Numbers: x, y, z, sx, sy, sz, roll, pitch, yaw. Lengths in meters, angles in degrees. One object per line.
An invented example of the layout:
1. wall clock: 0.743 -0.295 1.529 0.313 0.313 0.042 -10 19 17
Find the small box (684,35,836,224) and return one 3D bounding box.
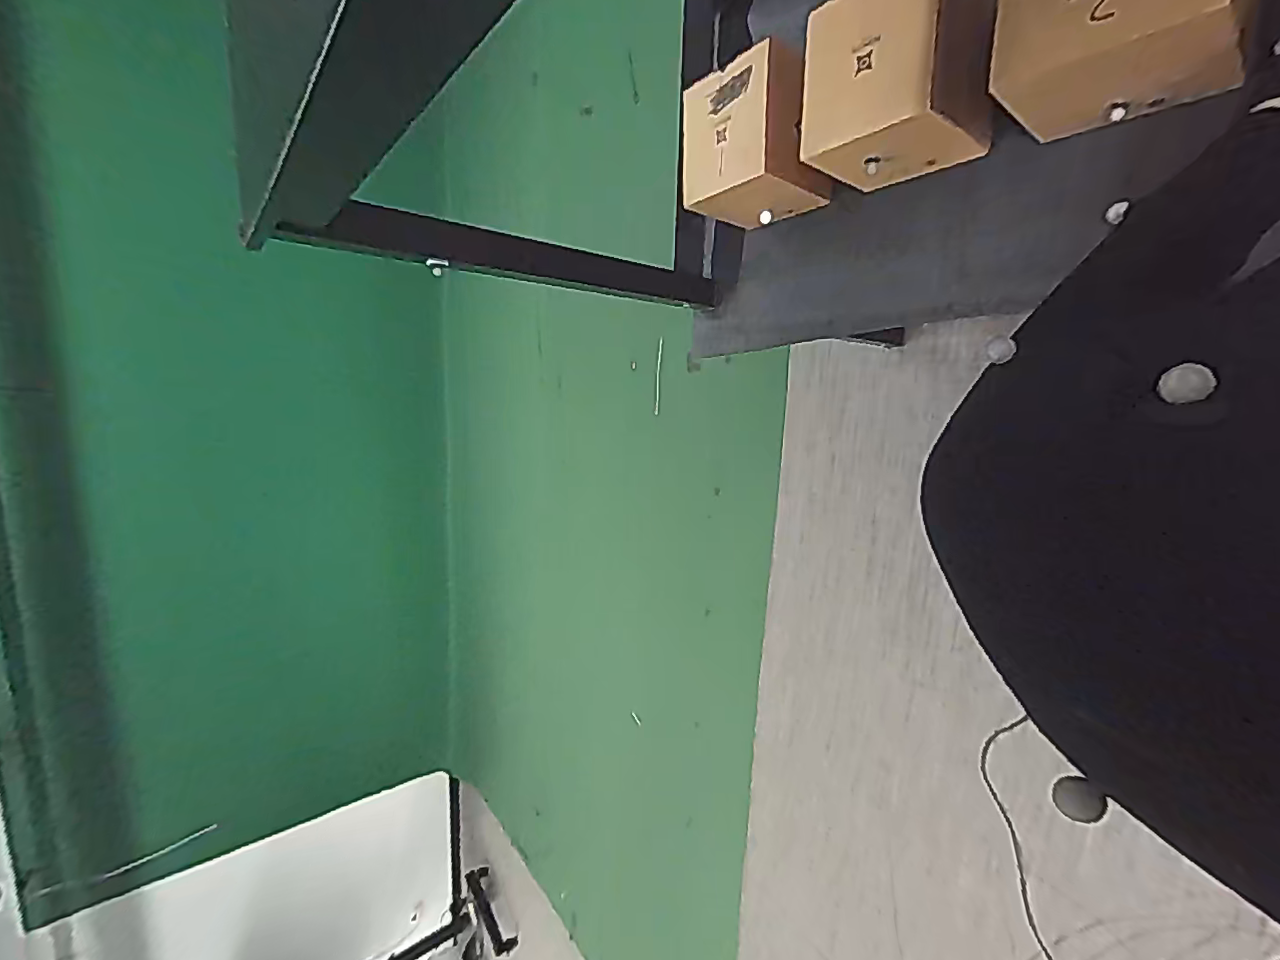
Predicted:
1. small box: 0.187 -0.527 0.845 0.168 0.176 0.179 9 102 51
